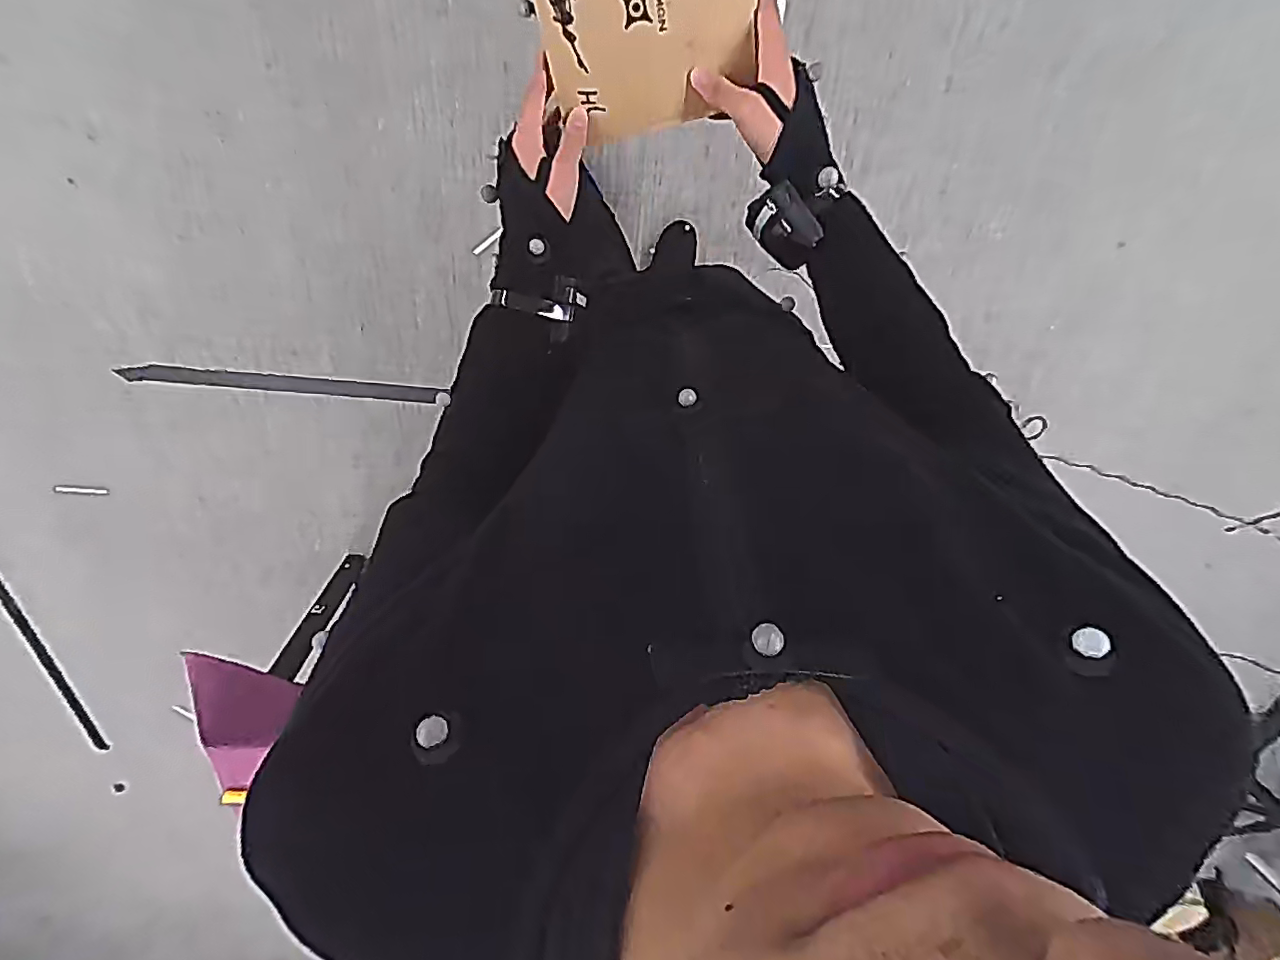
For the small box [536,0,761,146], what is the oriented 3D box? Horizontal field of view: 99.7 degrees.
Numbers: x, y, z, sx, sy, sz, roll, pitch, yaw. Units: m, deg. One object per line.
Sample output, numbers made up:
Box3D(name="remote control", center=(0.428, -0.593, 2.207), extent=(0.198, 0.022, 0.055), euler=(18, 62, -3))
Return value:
Box3D(name="small box", center=(-0.001, -0.424, 0.482), extent=(0.179, 0.176, 0.168), euler=(-12, 131, 3))
